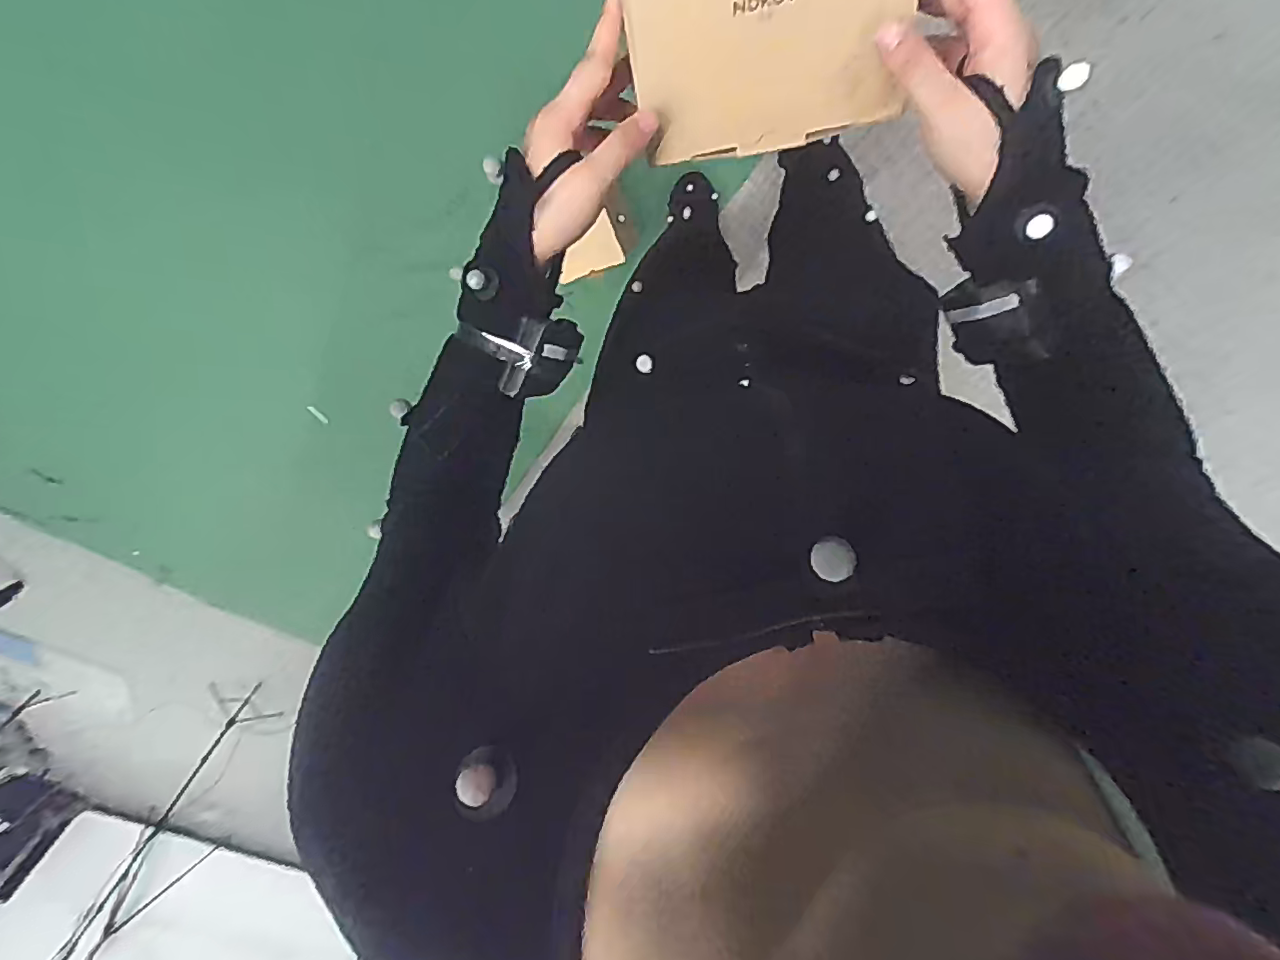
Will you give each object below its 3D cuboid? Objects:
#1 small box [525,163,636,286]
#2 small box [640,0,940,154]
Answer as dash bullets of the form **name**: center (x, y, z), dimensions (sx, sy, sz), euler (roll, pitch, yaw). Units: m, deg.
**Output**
- **small box**: center (-0.121, -0.566, 1.198), dimensions (0.168, 0.176, 0.179), euler (-11, 128, 21)
- **small box**: center (0.086, -0.340, 0.347), dimensions (0.168, 0.176, 0.179), euler (-5, 131, 11)
